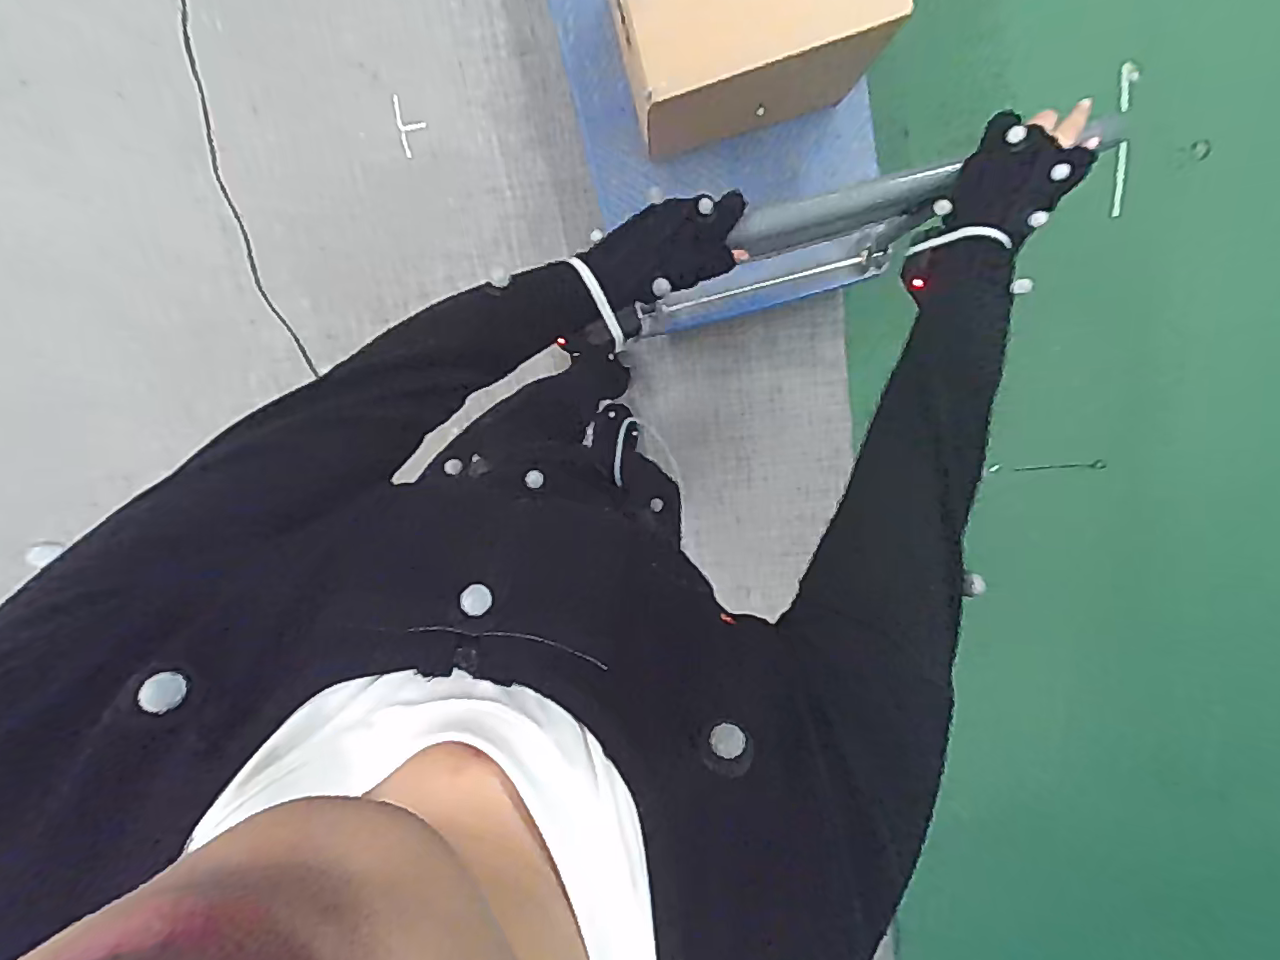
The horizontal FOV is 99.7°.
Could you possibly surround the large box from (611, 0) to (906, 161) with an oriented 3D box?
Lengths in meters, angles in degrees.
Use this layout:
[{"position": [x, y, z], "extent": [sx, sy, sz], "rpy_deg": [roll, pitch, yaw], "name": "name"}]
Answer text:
[{"position": [0.172, -0.819, 0.934], "extent": [0.408, 0.320, 0.320], "rpy_deg": [-16, 103, 7], "name": "large box"}]
